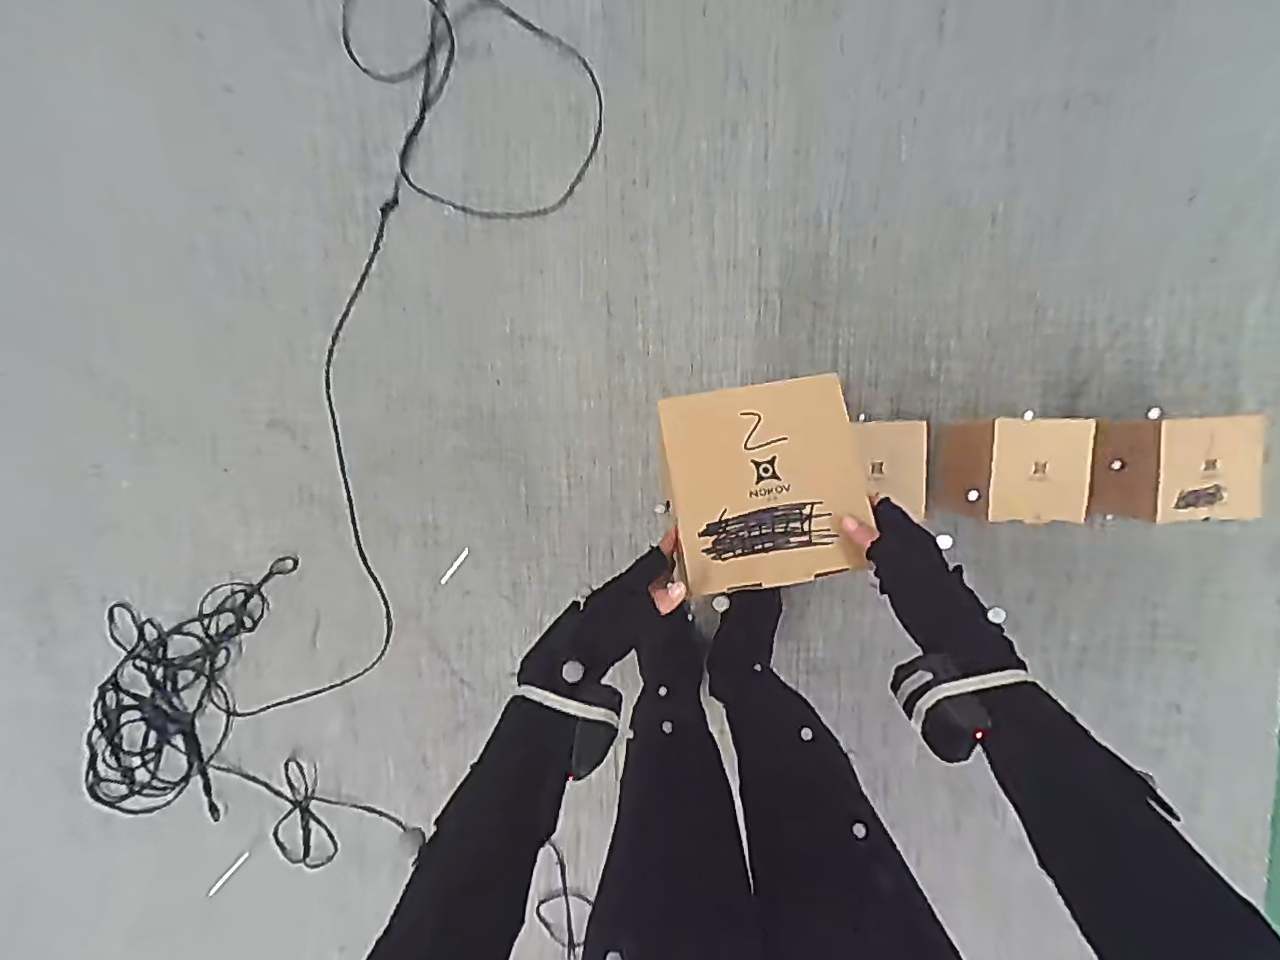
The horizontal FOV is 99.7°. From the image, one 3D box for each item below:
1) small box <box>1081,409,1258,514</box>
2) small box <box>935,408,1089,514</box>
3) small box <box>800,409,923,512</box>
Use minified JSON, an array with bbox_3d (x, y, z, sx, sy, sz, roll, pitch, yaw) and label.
[{"bbox_3d":[0.933,-0.039,0.976,0.168,0.176,0.179,-2,96,2],"label":"small box"},{"bbox_3d":[0.665,-0.040,0.987,0.168,0.176,0.179,1,97,2],"label":"small box"},{"bbox_3d":[0.396,-0.040,0.994,0.168,0.176,0.179,0,97,3],"label":"small box"}]
